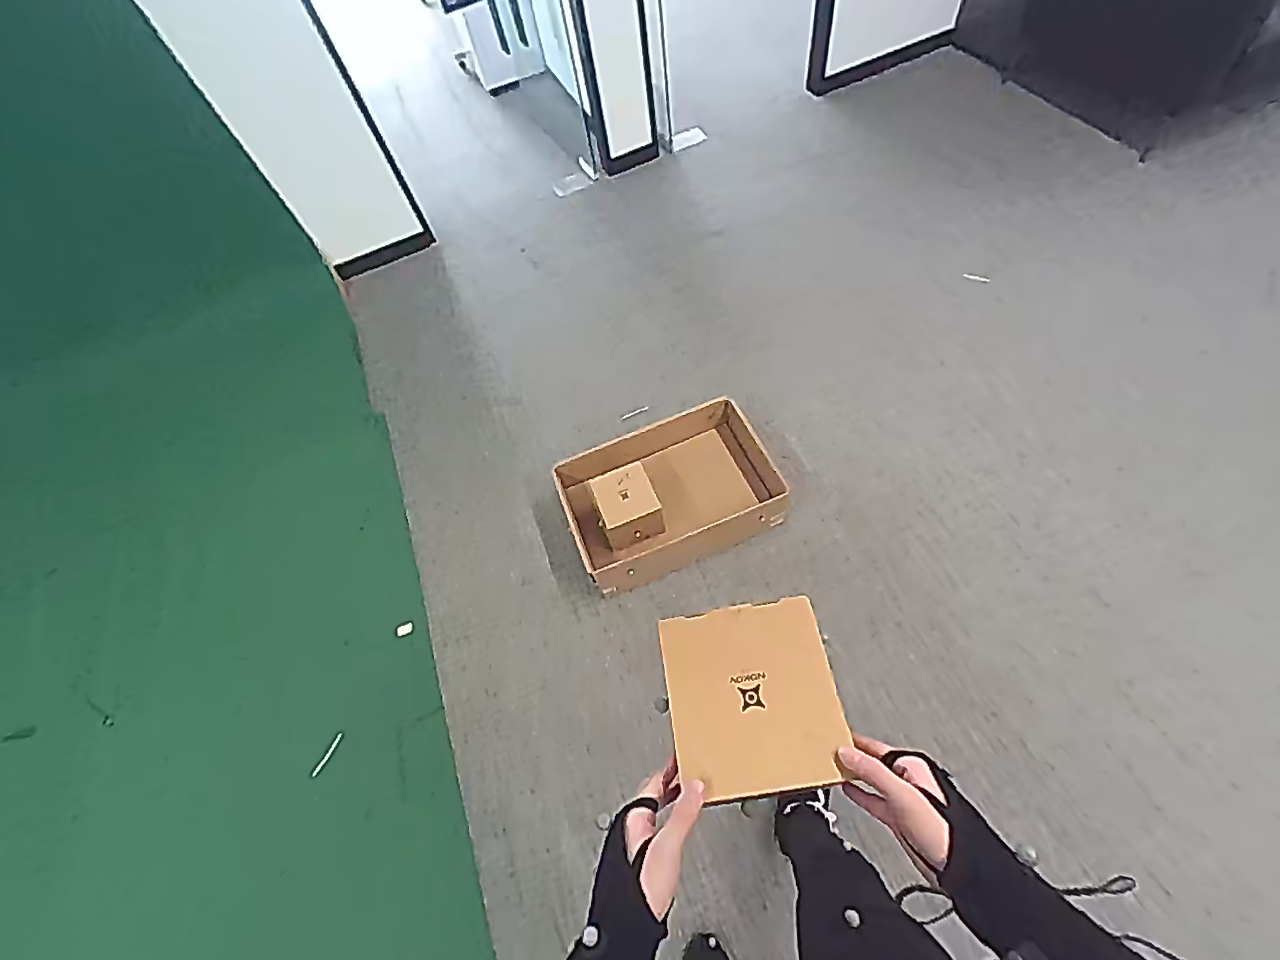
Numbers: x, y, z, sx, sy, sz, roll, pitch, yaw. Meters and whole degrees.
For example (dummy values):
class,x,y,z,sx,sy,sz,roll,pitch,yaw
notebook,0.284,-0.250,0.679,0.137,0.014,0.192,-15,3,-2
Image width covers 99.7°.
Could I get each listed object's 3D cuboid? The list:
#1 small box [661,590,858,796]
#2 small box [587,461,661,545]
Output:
class,x,y,z,sx,sy,sz,roll,pitch,yaw
small box,0.126,0.248,0.615,0.168,0.176,0.179,-12,57,3
small box,-0.044,0.079,1.631,0.168,0.176,0.179,-21,60,-6
